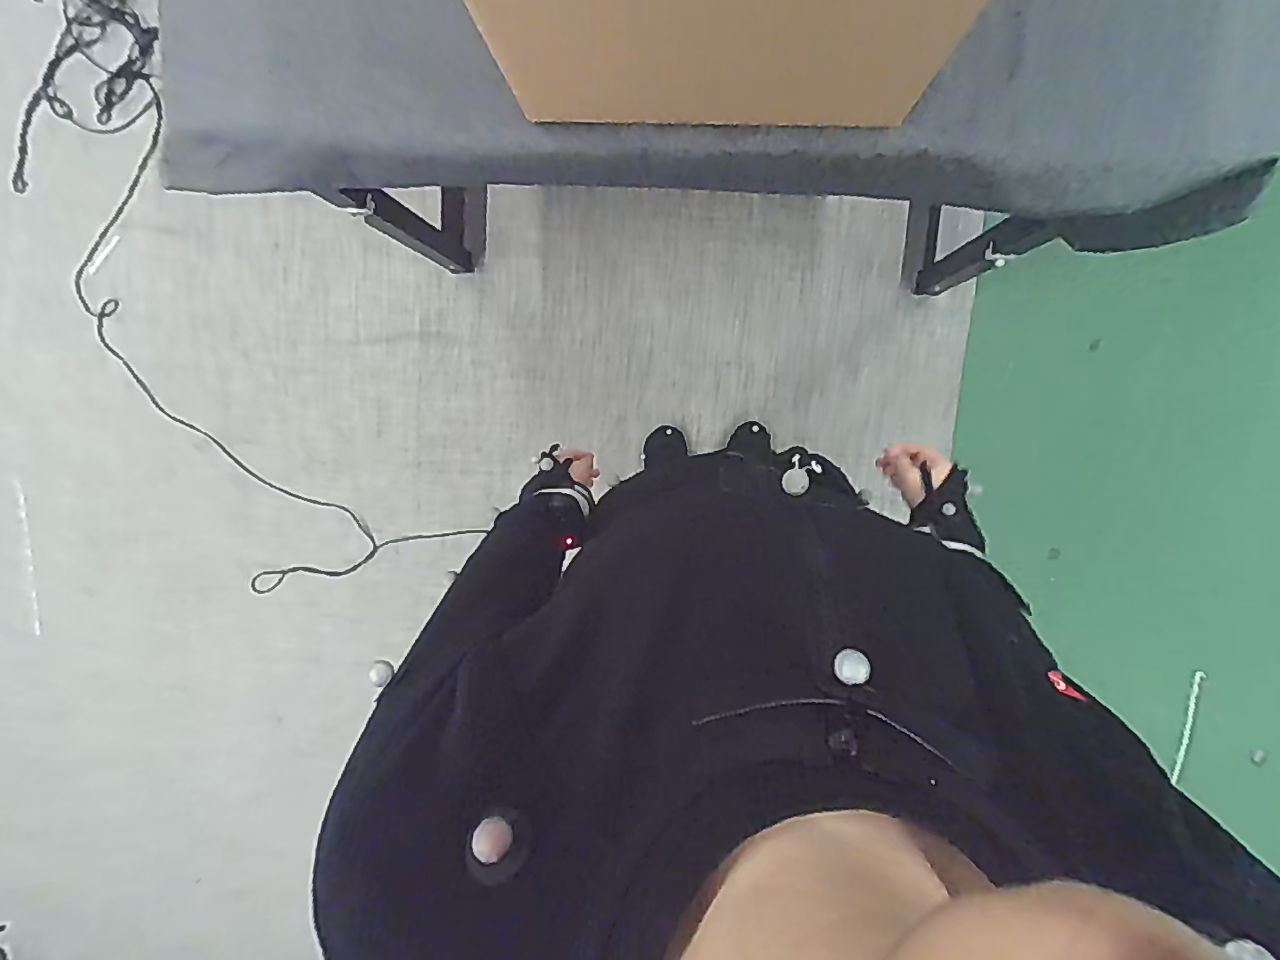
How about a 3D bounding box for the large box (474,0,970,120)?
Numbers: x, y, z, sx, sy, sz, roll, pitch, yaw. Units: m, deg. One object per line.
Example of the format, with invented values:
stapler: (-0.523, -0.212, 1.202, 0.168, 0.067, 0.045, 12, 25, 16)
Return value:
large box: (0.066, -0.528, 0.423, 0.408, 0.320, 0.320, 3, 96, 4)
